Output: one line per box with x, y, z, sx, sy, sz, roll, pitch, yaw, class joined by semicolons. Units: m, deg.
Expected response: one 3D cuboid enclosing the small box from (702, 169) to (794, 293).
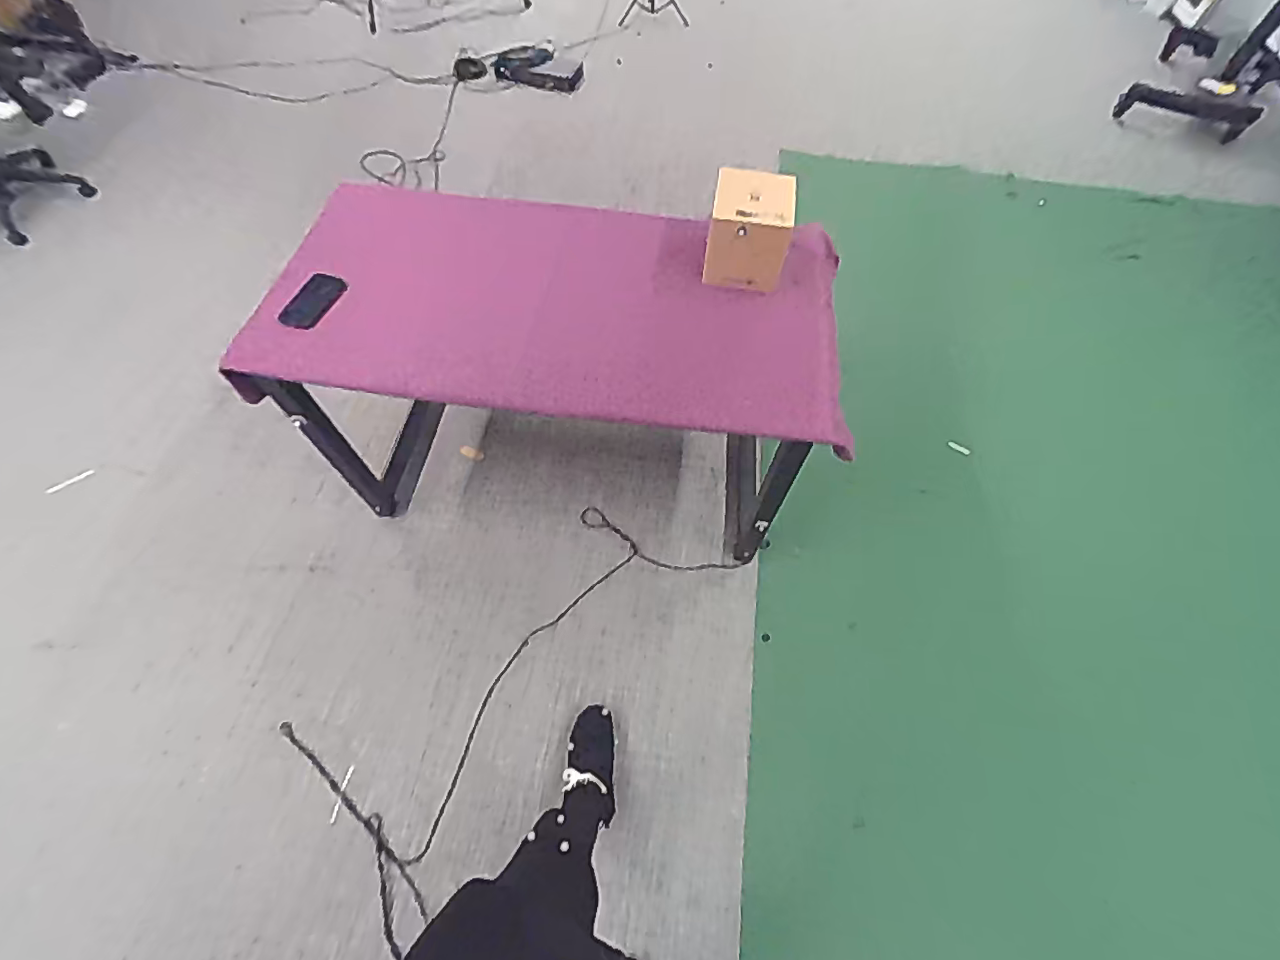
0.231;-0.541;1.179;0.168;0.176;0.179;9;60;5;small box
